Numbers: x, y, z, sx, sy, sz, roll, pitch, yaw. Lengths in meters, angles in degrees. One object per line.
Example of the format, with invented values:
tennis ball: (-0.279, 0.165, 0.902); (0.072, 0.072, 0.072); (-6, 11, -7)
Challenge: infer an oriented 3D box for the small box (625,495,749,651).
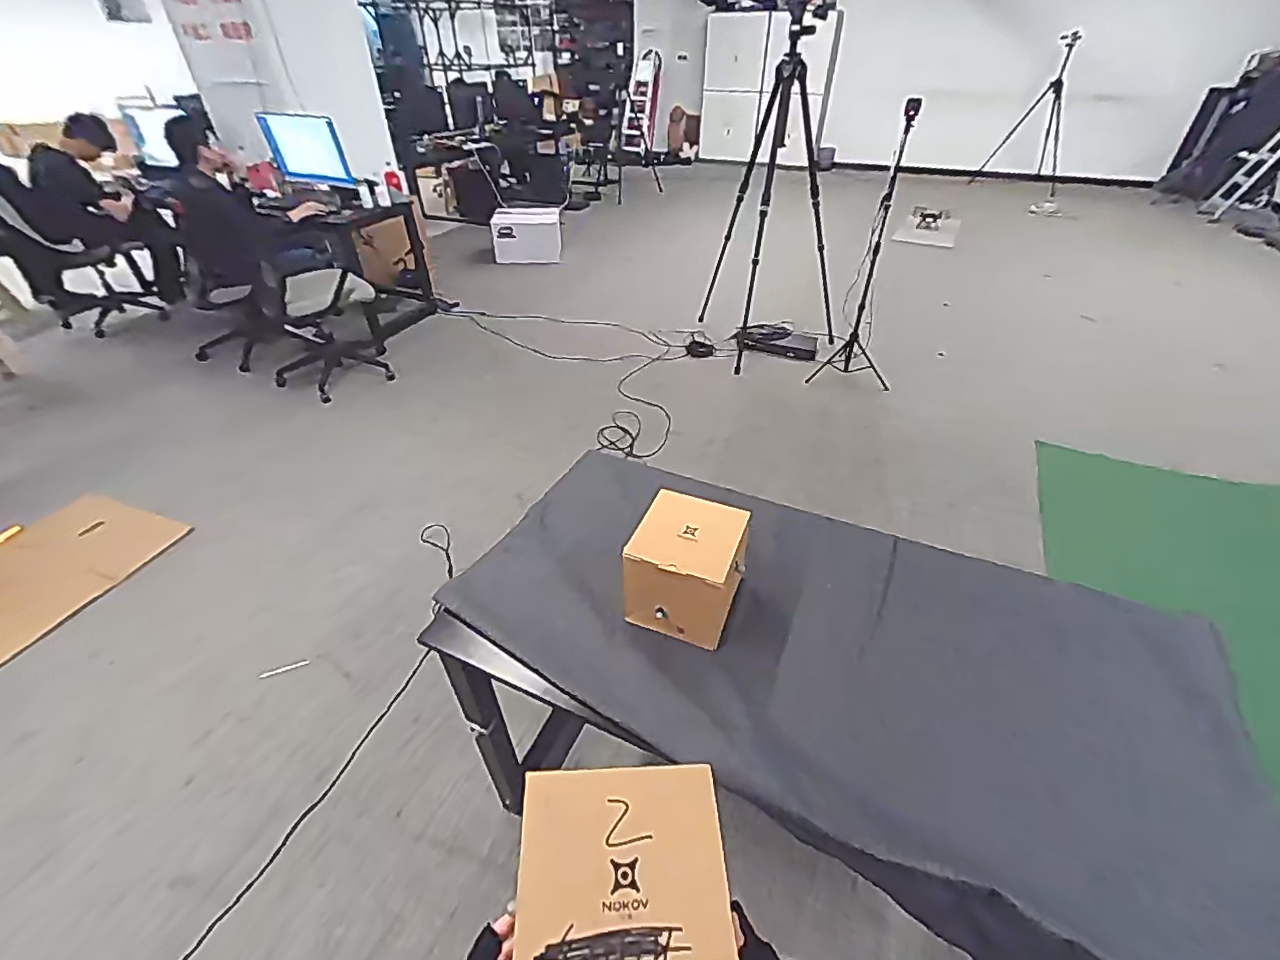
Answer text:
small box: (0.079, 0.160, 0.939); (0.168, 0.176, 0.179); (15, 41, 17)
